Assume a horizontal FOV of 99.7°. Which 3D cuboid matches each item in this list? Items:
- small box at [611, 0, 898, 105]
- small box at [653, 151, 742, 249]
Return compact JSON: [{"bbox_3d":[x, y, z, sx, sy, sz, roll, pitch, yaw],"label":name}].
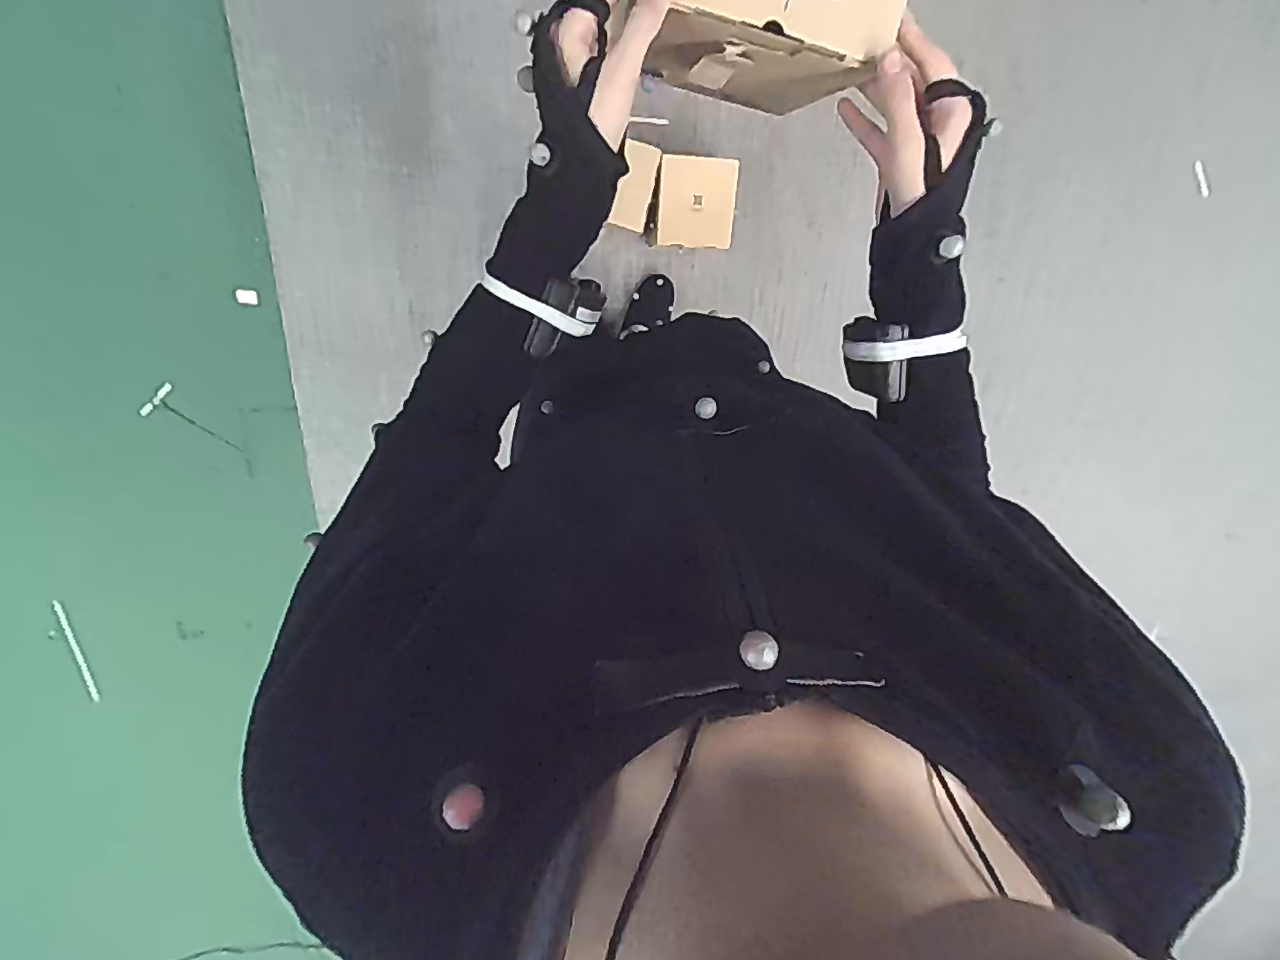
[{"bbox_3d":[0.077,-0.384,0.369,0.168,0.176,0.179,4,114,-13],"label":"small box"},{"bbox_3d":[0.122,-0.627,1.229,0.168,0.176,0.179,2,112,-5],"label":"small box"}]
